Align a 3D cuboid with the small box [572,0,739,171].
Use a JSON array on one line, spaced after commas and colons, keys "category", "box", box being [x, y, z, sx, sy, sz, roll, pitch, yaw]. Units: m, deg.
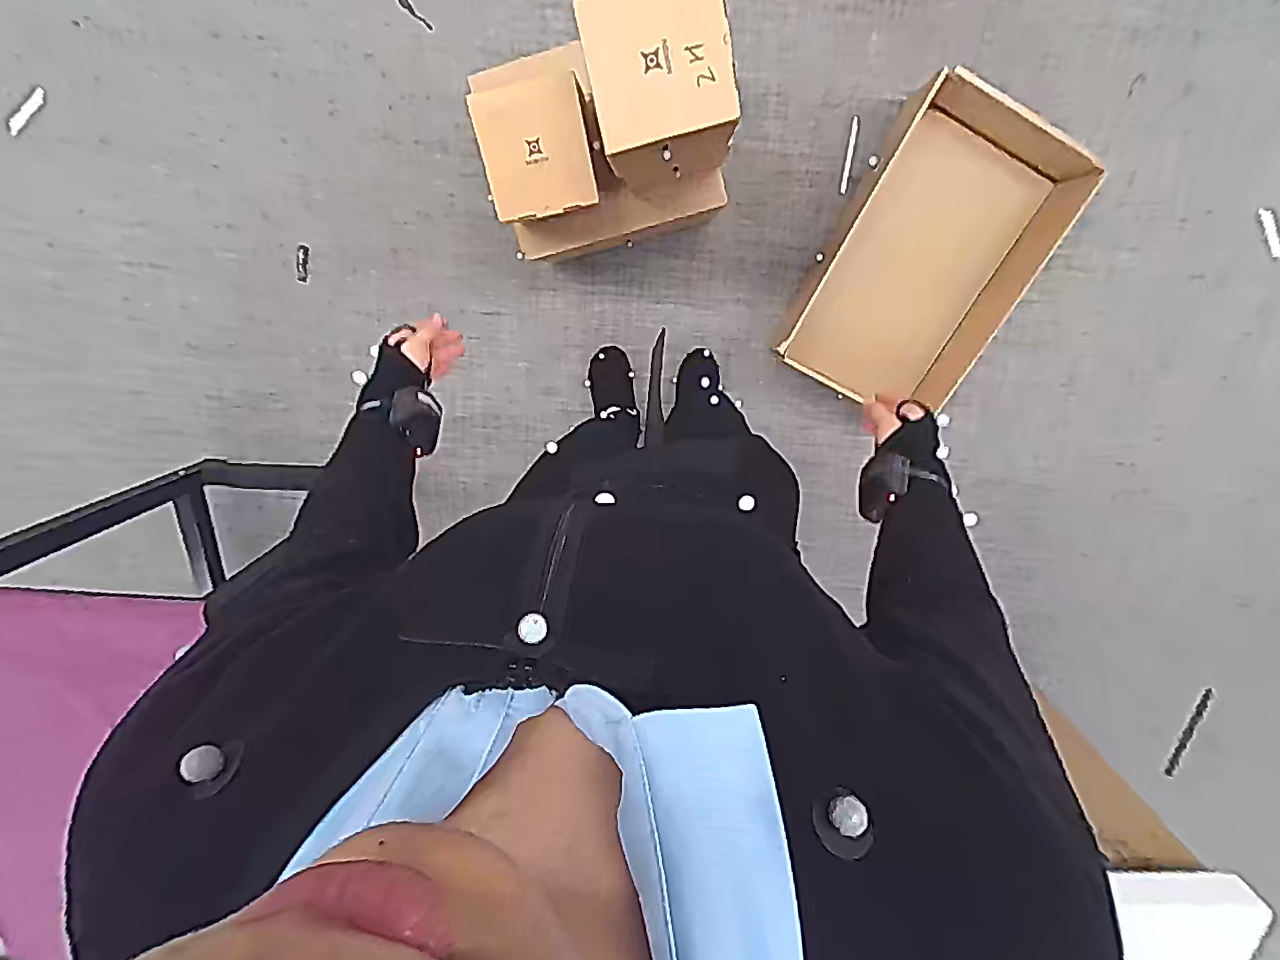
[{"category": "small box", "box": [0.025, -0.529, 0.715, 0.179, 0.176, 0.168, -11, 111, 6]}]
